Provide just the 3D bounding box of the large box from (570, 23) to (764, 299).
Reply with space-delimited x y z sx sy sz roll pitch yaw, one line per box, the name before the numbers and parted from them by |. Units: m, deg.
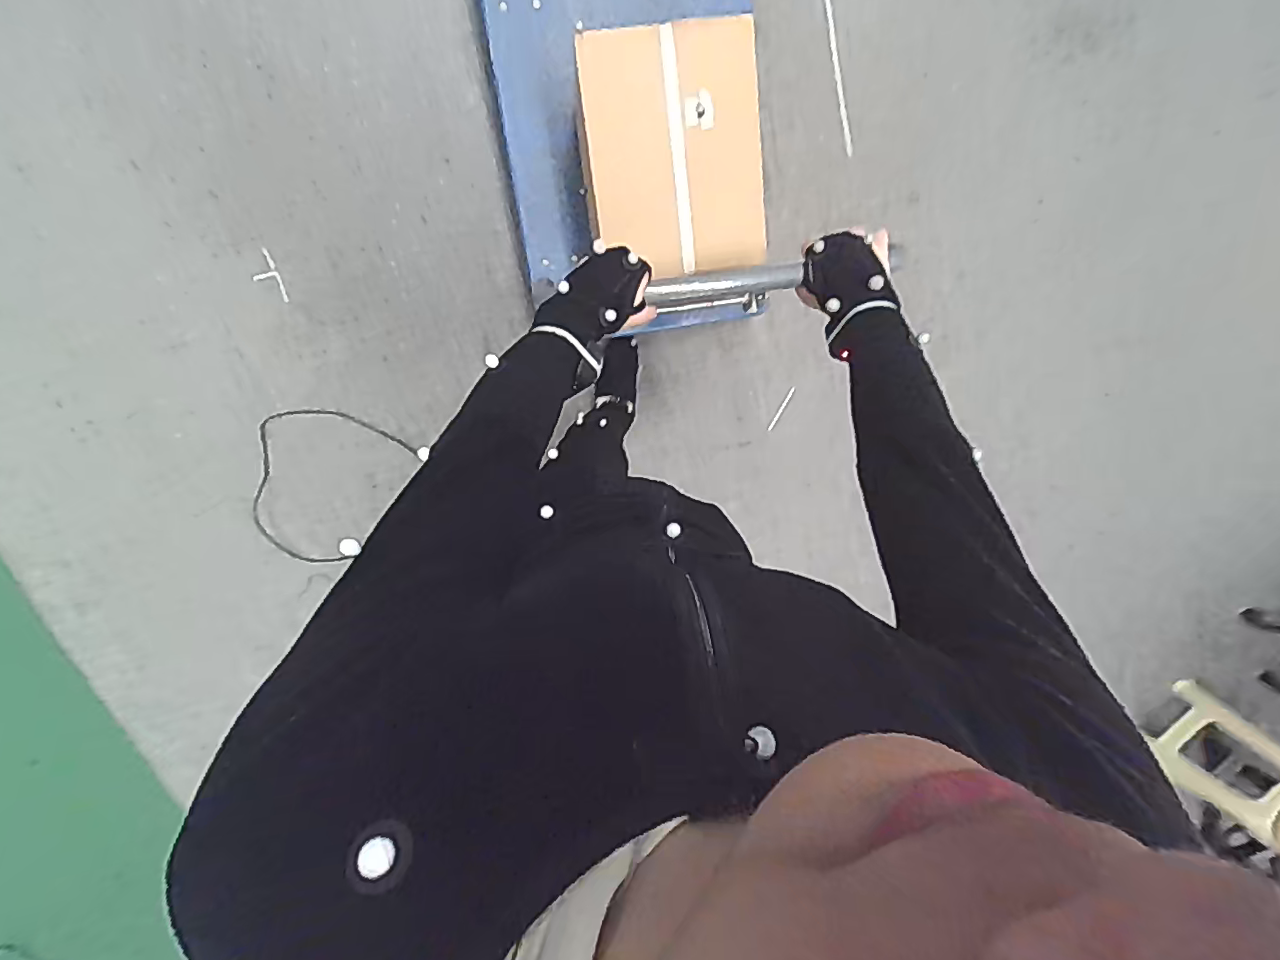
large box | 0.044 -0.612 1.116 0.320 0.320 0.408 -9 105 -5
